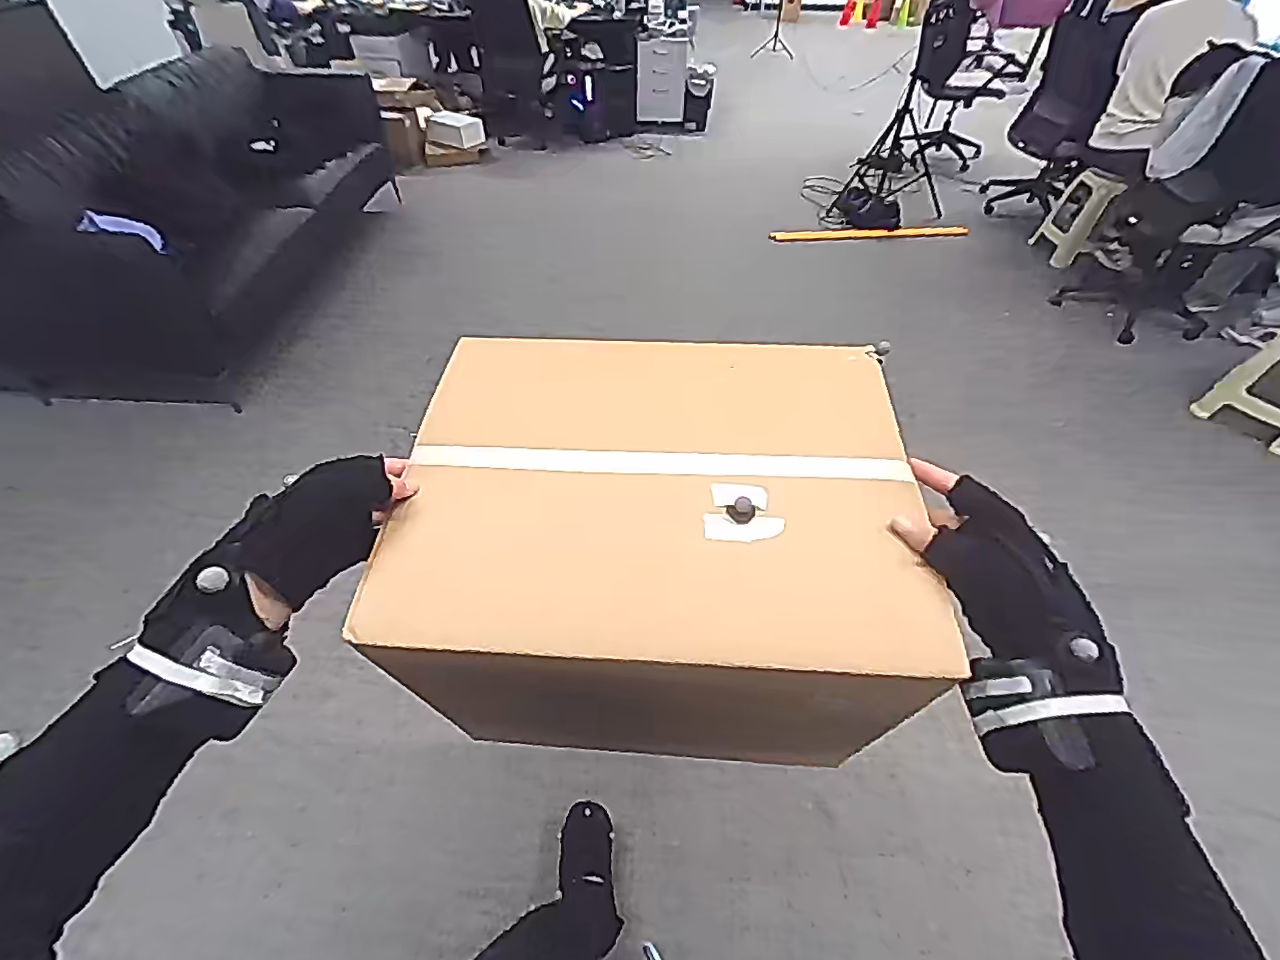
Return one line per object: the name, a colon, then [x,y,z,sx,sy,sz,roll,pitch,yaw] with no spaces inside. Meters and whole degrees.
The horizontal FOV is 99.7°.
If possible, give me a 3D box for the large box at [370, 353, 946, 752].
large box: [0.017,0.084,0.573,0.408,0.320,0.320,2,54,4]
